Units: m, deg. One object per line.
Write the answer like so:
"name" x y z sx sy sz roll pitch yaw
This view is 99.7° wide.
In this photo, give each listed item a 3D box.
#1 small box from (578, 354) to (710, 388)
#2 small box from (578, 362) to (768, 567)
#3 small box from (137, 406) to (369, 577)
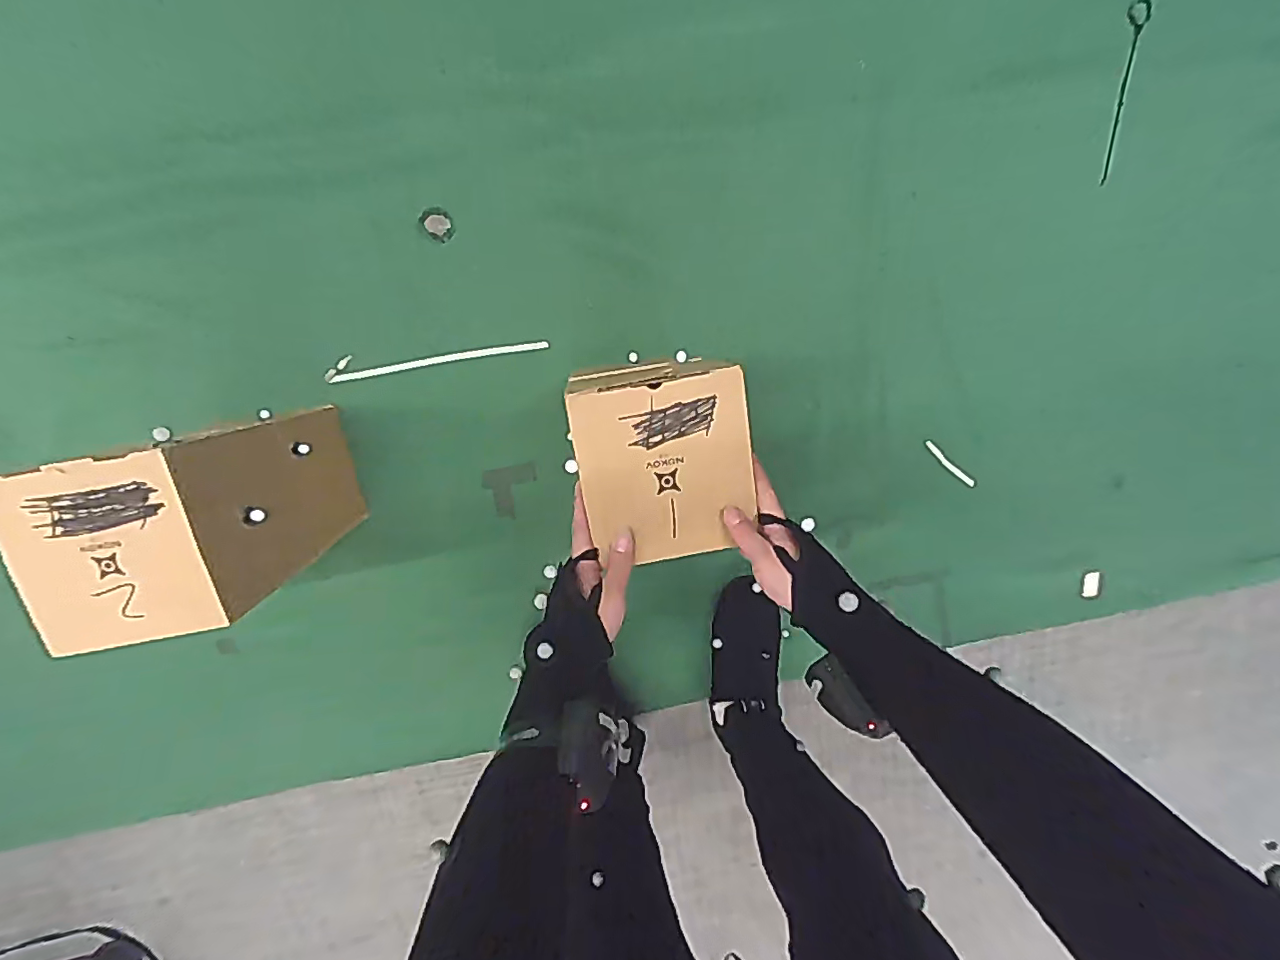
"small box" 0.007 -0.075 0.745 0.168 0.176 0.179 -9 104 -4
"small box" 0.026 -0.030 0.582 0.168 0.176 0.179 -10 106 -3
"small box" -0.489 0.005 0.718 0.168 0.176 0.179 -10 103 -3
